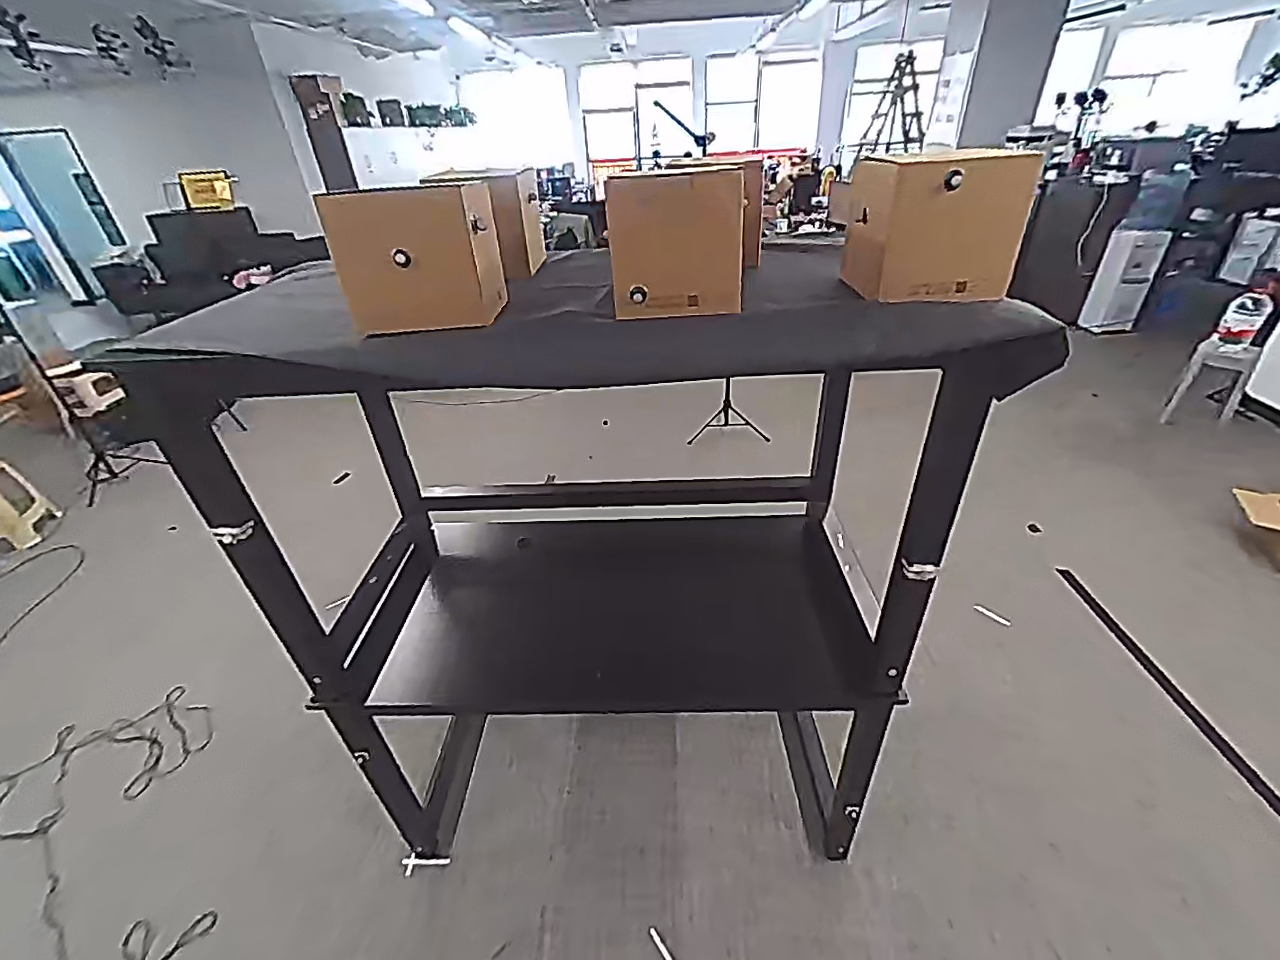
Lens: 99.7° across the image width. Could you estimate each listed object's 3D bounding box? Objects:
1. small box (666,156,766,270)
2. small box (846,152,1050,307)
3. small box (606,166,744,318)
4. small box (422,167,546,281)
[{"bbox_3d":[0.138,-0.487,0.990,0.168,0.176,0.179,2,33,7],"label":"small box"},{"bbox_3d":[0.390,-0.337,0.727,0.168,0.176,0.179,-3,32,3],"label":"small box"},{"bbox_3d":[0.050,-0.323,0.737,0.168,0.176,0.179,-2,31,4],"label":"small box"},{"bbox_3d":[-0.275,-0.471,1.000,0.168,0.176,0.179,-1,33,2],"label":"small box"}]
